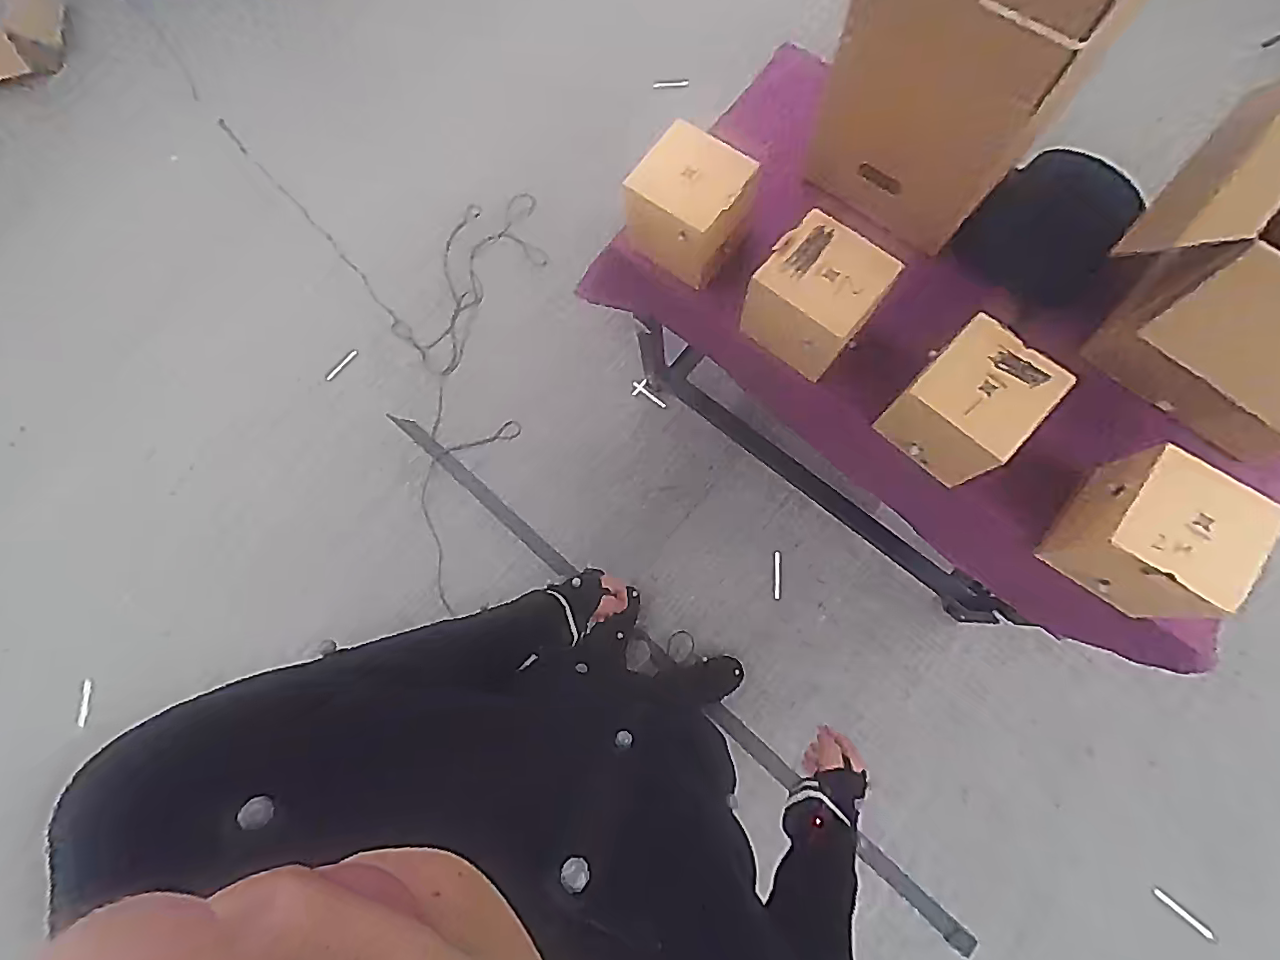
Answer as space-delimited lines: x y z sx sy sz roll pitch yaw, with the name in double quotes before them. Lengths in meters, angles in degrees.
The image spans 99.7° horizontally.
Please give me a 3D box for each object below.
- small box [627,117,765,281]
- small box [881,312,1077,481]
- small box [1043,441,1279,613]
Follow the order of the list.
"small box" 0.097 -0.500 0.986 0.179 0.176 0.168 37 82 10
"small box" 0.523 -0.124 0.865 0.168 0.176 0.179 43 84 12
"small box" 0.754 0.077 0.799 0.168 0.176 0.179 37 82 13
